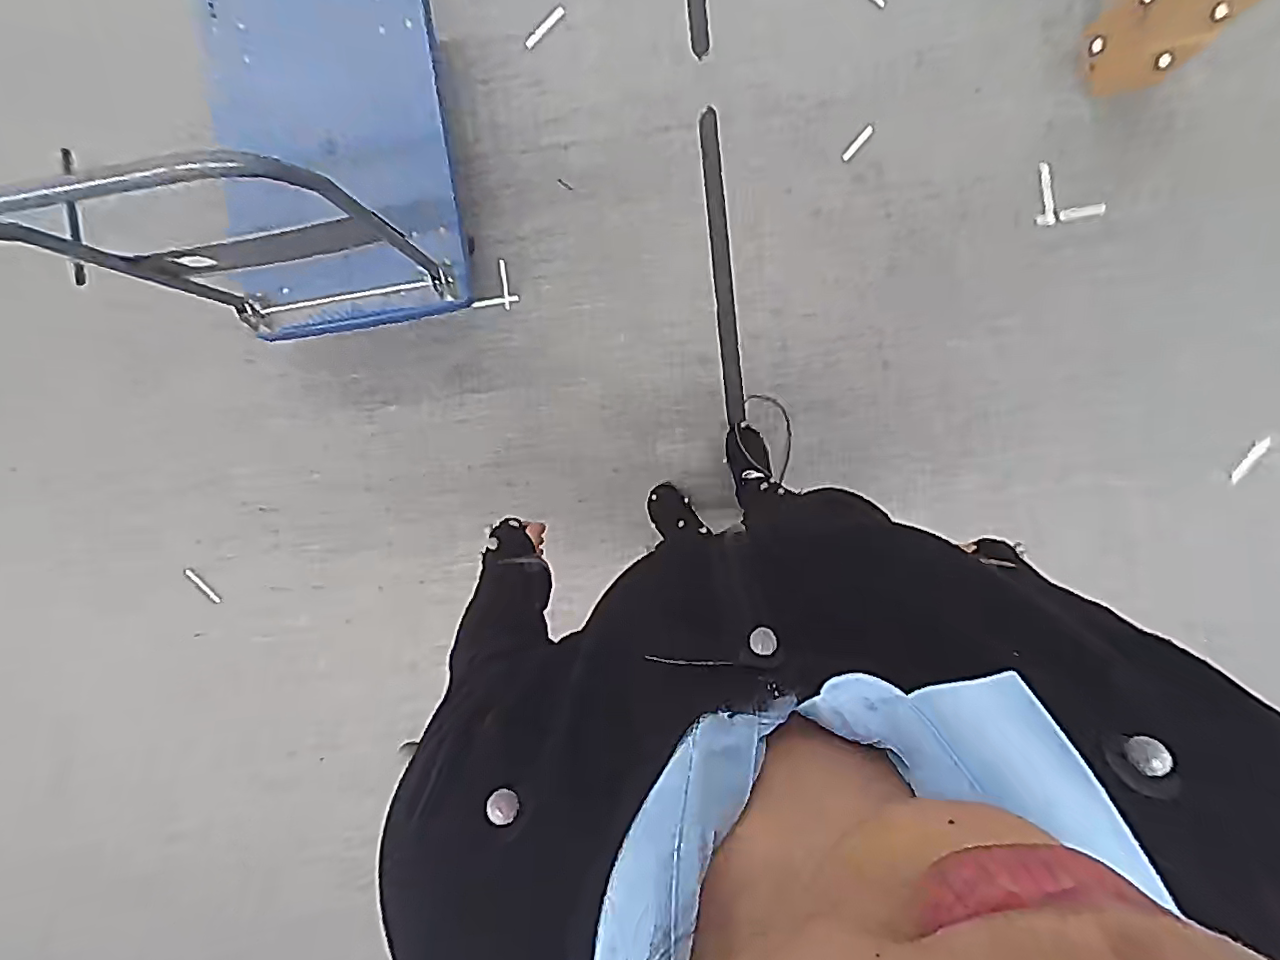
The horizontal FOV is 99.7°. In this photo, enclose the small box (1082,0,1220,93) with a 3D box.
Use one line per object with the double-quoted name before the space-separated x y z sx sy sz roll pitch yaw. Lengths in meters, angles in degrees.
"small box" 1.233 -1.088 1.314 0.179 0.176 0.168 -9 92 4
